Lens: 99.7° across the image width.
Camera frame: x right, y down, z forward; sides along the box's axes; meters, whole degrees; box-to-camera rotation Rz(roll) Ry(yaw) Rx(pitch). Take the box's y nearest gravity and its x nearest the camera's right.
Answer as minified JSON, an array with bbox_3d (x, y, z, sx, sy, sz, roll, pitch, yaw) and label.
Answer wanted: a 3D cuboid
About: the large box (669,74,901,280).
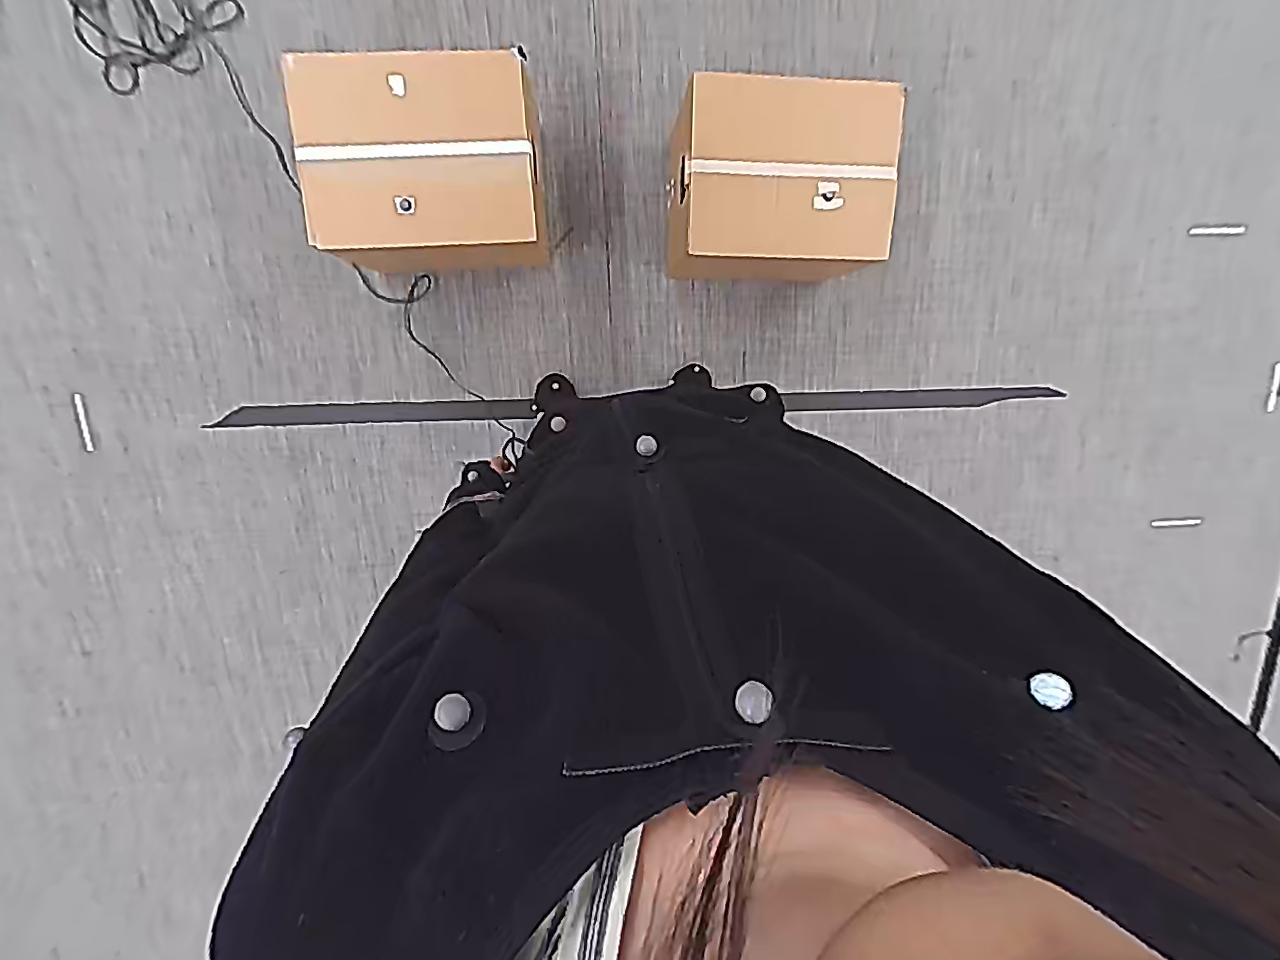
[{"bbox_3d":[0.280,-0.622,1.176,0.408,0.320,0.320,0,103,-6],"label":"large box"}]
